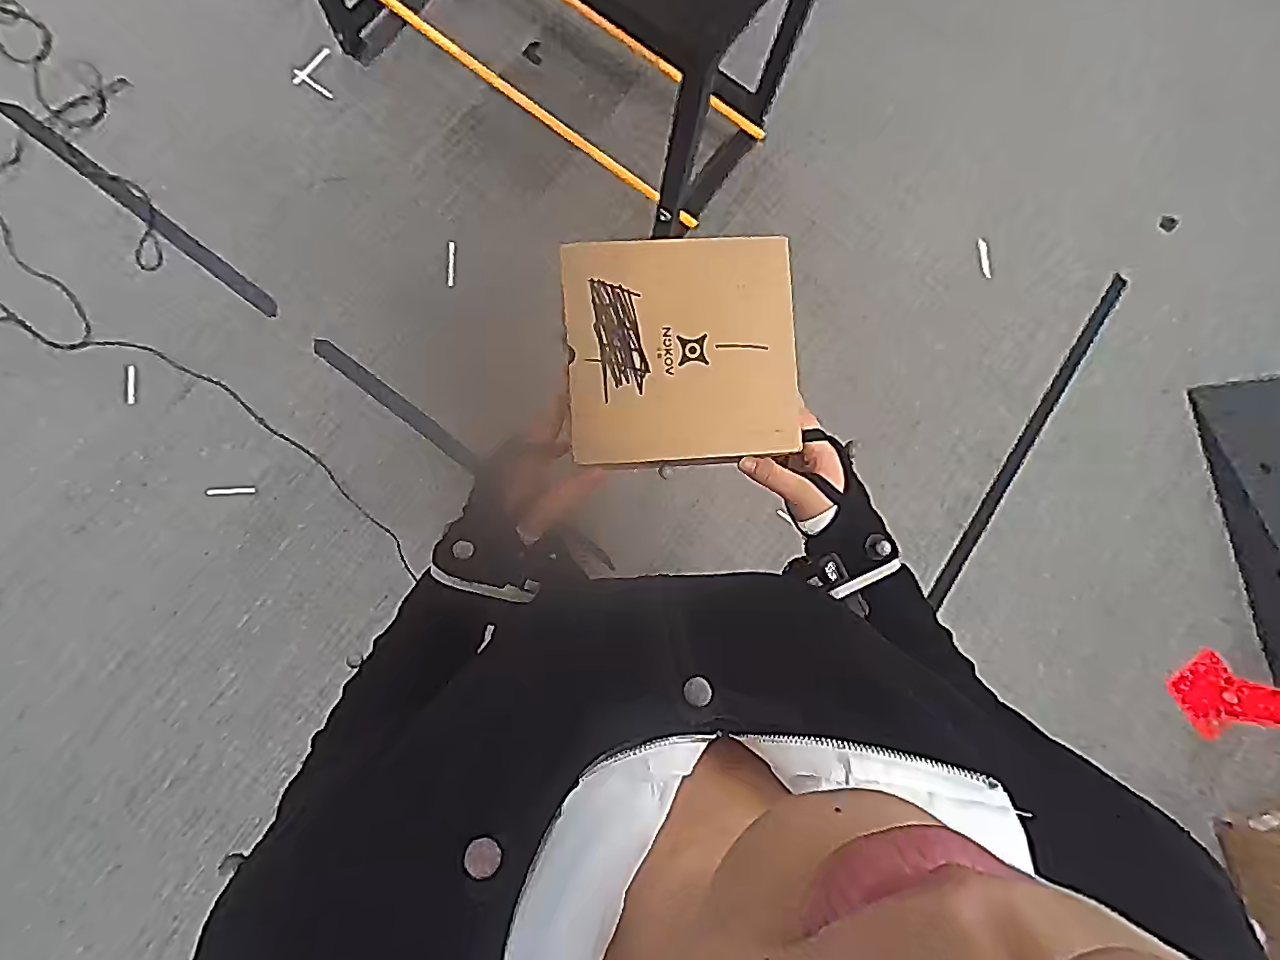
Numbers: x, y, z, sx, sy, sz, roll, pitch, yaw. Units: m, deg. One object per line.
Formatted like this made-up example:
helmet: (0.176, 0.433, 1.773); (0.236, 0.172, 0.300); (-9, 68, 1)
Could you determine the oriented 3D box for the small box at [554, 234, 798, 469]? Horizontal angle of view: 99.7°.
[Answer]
small box: (0.023, -0.098, 0.482); (0.179, 0.176, 0.168); (-4, 90, -5)
